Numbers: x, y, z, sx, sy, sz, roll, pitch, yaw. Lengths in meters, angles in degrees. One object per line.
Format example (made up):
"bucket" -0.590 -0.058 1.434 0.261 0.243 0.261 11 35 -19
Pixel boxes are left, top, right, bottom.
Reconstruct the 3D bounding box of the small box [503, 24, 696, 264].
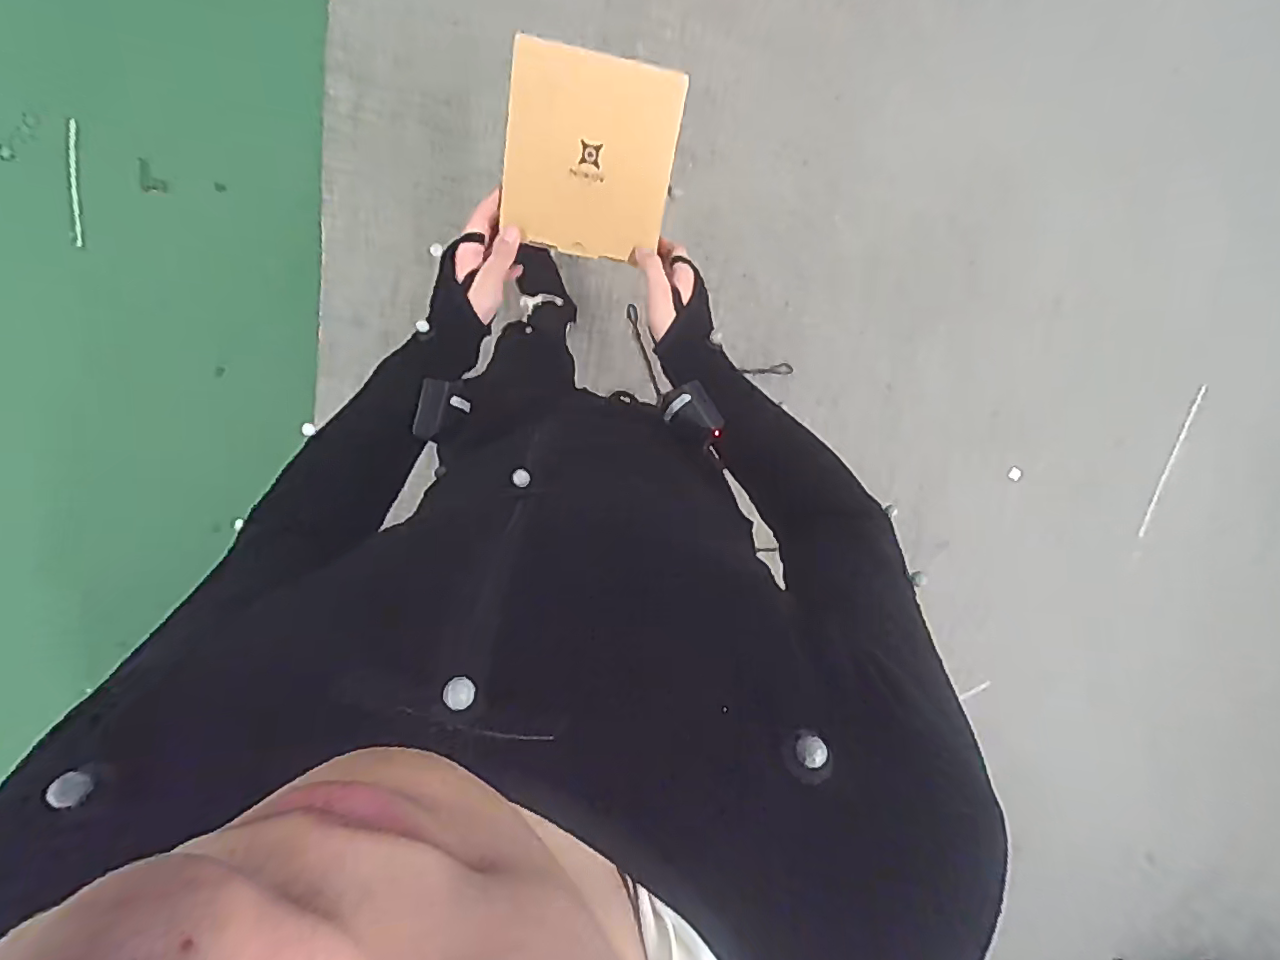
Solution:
"small box" -0.046 -0.352 0.599 0.168 0.176 0.179 10 115 -6
